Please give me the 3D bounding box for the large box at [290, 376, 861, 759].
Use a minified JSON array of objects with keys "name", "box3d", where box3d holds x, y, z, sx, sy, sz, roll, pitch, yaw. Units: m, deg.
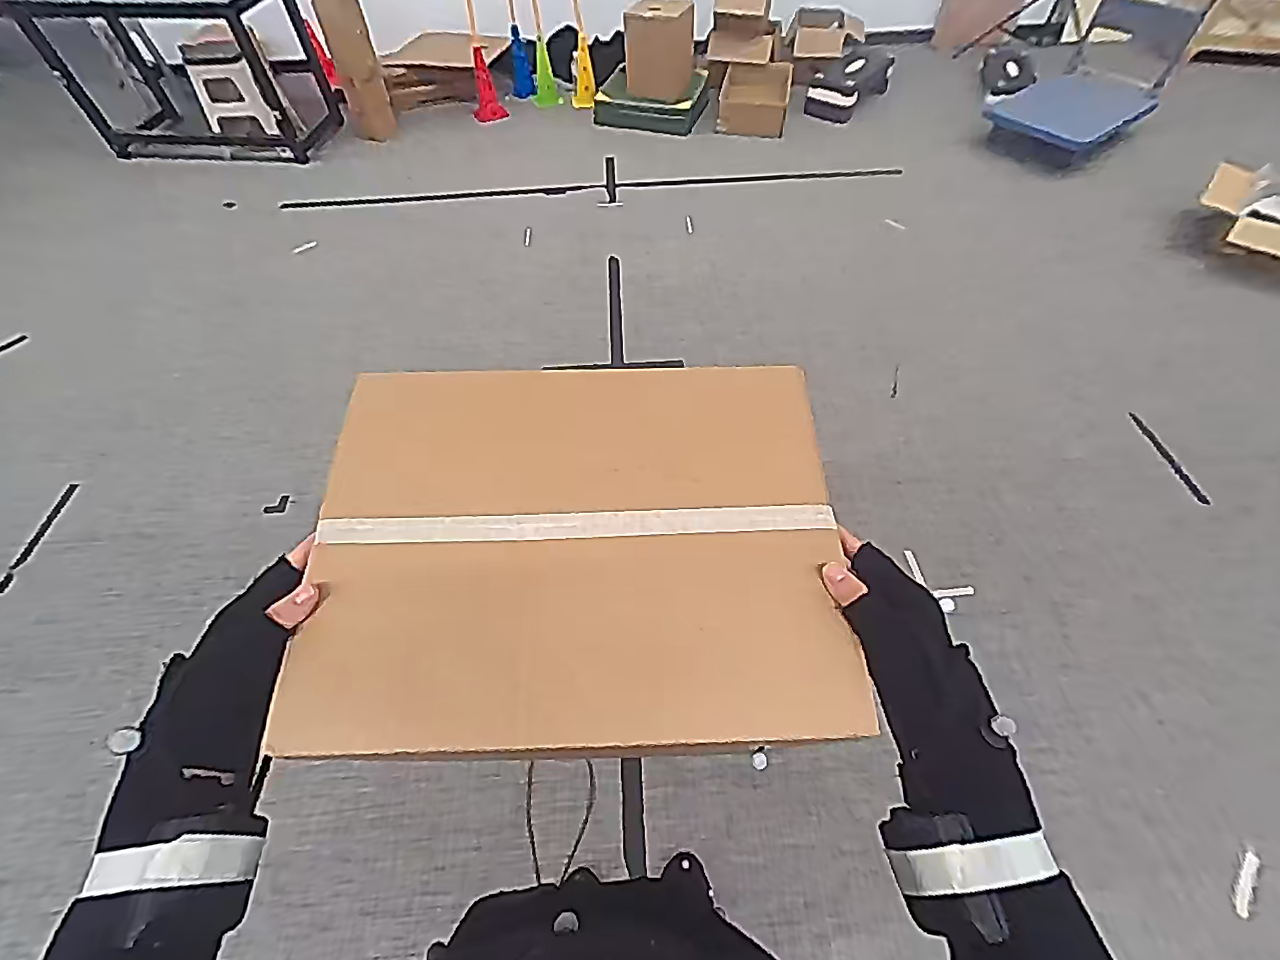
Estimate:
[{"name":"large box","box3d":[-0.047,0.111,0.571,0.408,0.320,0.320,-1,62,-1]}]
